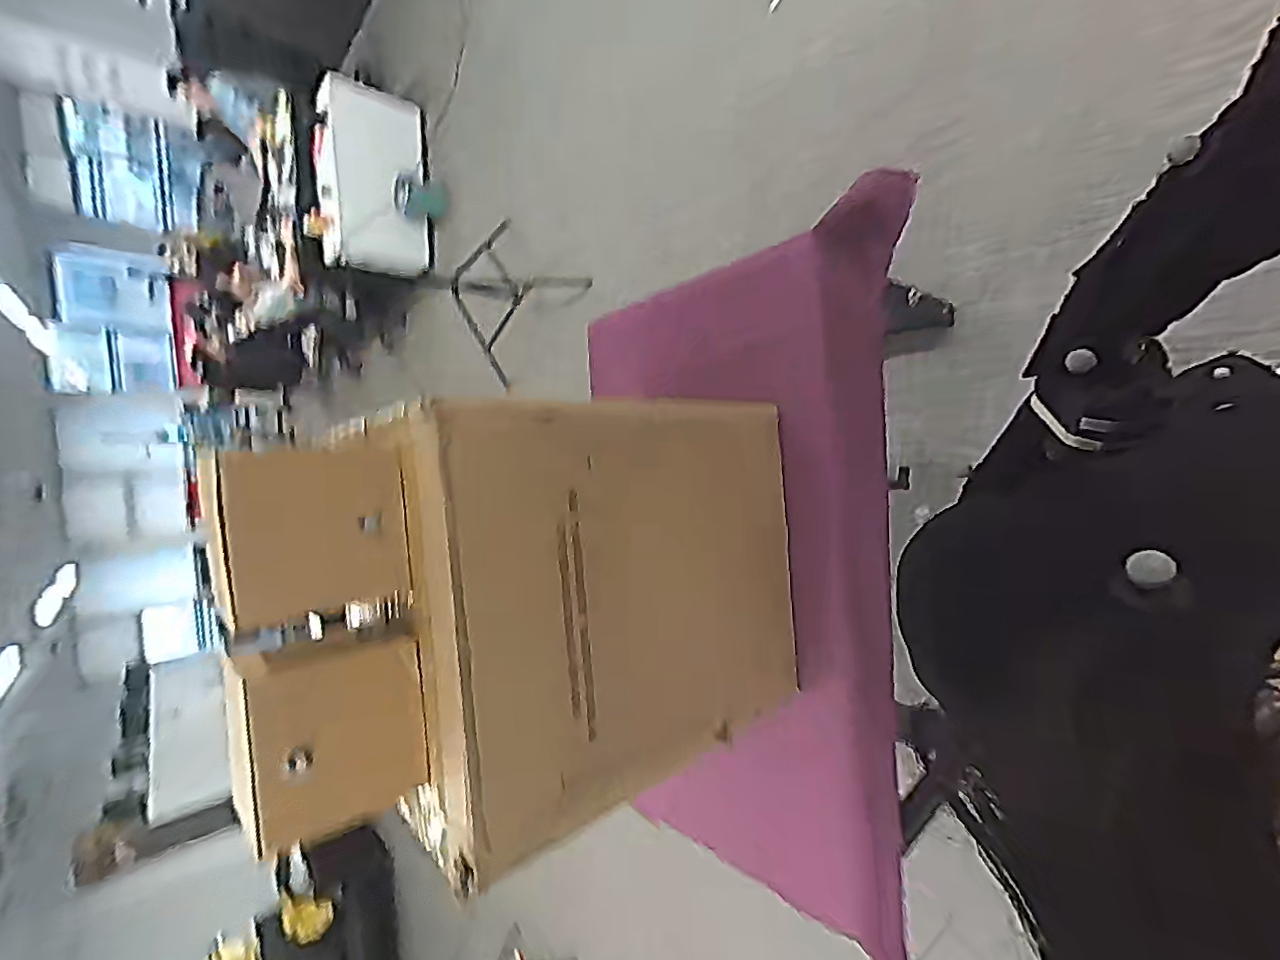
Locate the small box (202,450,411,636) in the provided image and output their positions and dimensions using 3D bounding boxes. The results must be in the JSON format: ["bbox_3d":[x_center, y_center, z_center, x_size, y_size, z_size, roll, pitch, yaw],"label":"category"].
[{"bbox_3d":[-0.377,0.056,0.614,0.168,0.176,0.179,-2,93,48],"label":"small box"}]
